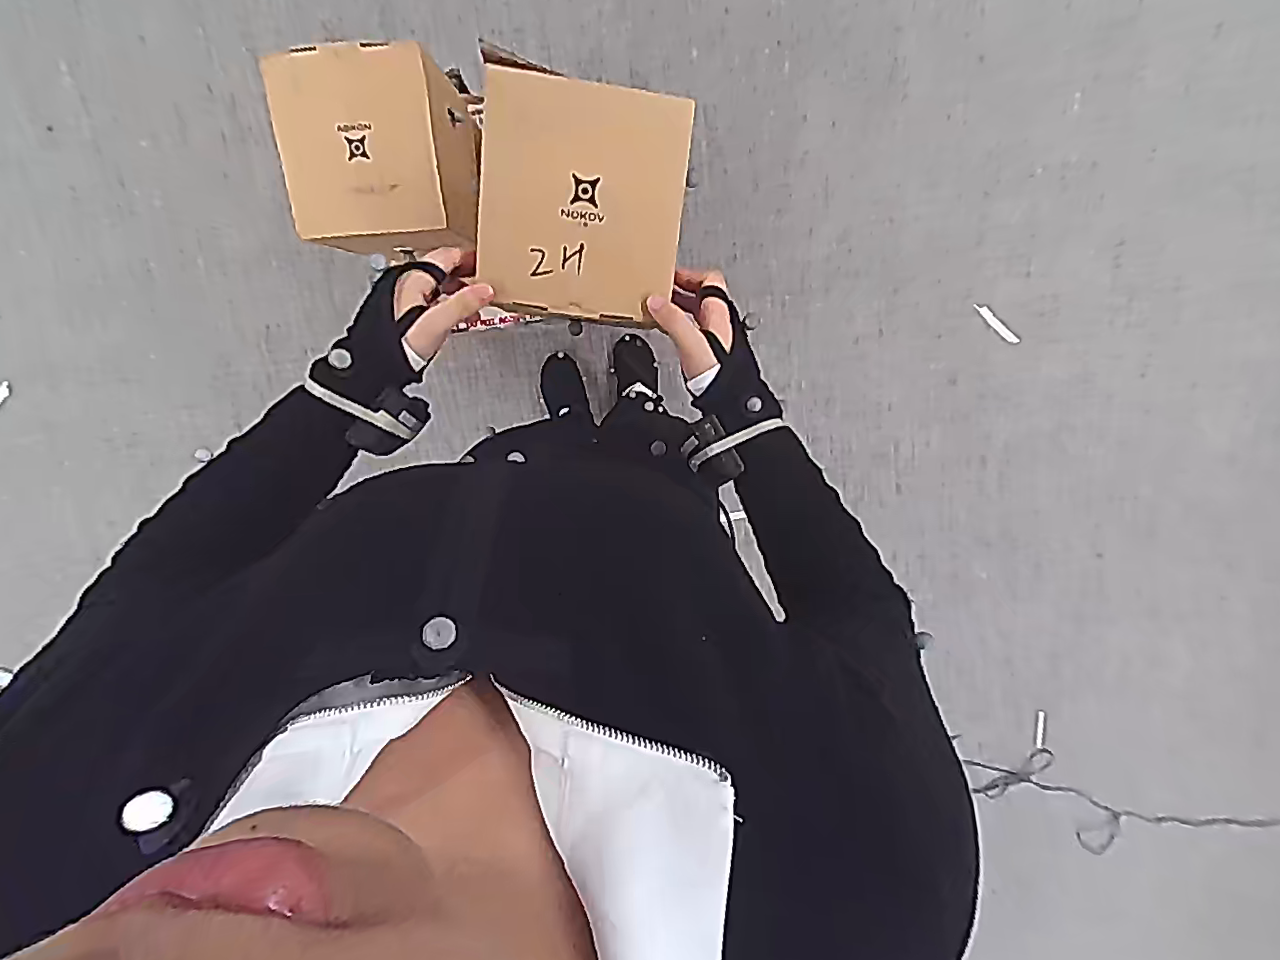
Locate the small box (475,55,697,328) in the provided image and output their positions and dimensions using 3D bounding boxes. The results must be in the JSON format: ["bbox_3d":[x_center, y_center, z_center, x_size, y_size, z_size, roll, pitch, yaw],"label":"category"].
[{"bbox_3d":[-0.052,-0.248,0.514,0.168,0.176,0.179,6,102,-6],"label":"small box"}]

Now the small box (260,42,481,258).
[{"bbox_3d":[-0.293,-0.369,0.637,0.168,0.176,0.179,-4,107,1],"label":"small box"}]
